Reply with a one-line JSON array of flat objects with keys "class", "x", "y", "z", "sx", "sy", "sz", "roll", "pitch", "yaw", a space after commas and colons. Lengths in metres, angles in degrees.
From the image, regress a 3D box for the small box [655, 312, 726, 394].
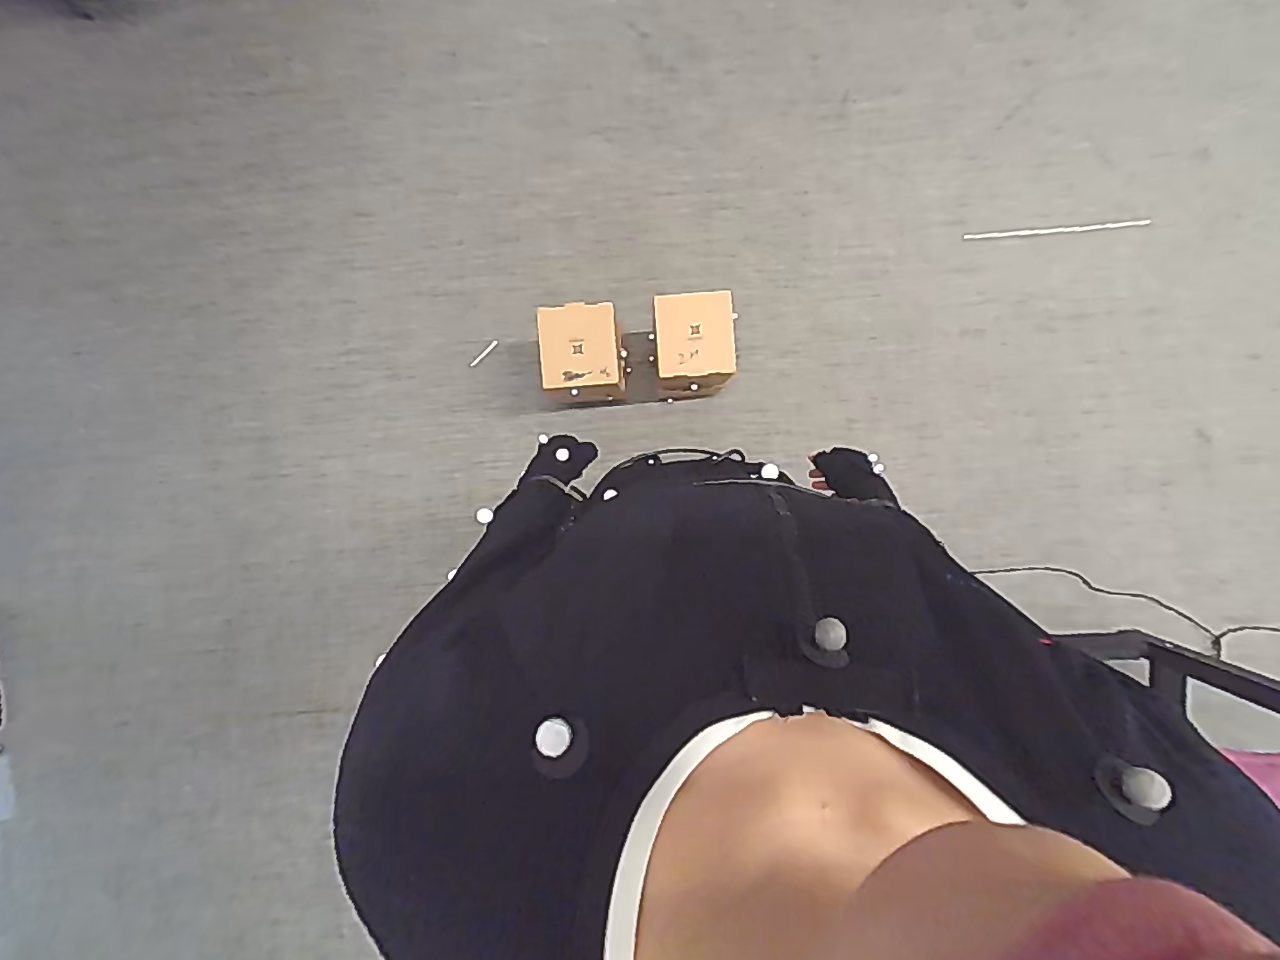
[{"class": "small box", "x": 0.125, "y": -0.316, "z": 1.383, "sx": 0.168, "sy": 0.176, "sz": 0.179, "roll": -4, "pitch": 91, "yaw": 1}]
